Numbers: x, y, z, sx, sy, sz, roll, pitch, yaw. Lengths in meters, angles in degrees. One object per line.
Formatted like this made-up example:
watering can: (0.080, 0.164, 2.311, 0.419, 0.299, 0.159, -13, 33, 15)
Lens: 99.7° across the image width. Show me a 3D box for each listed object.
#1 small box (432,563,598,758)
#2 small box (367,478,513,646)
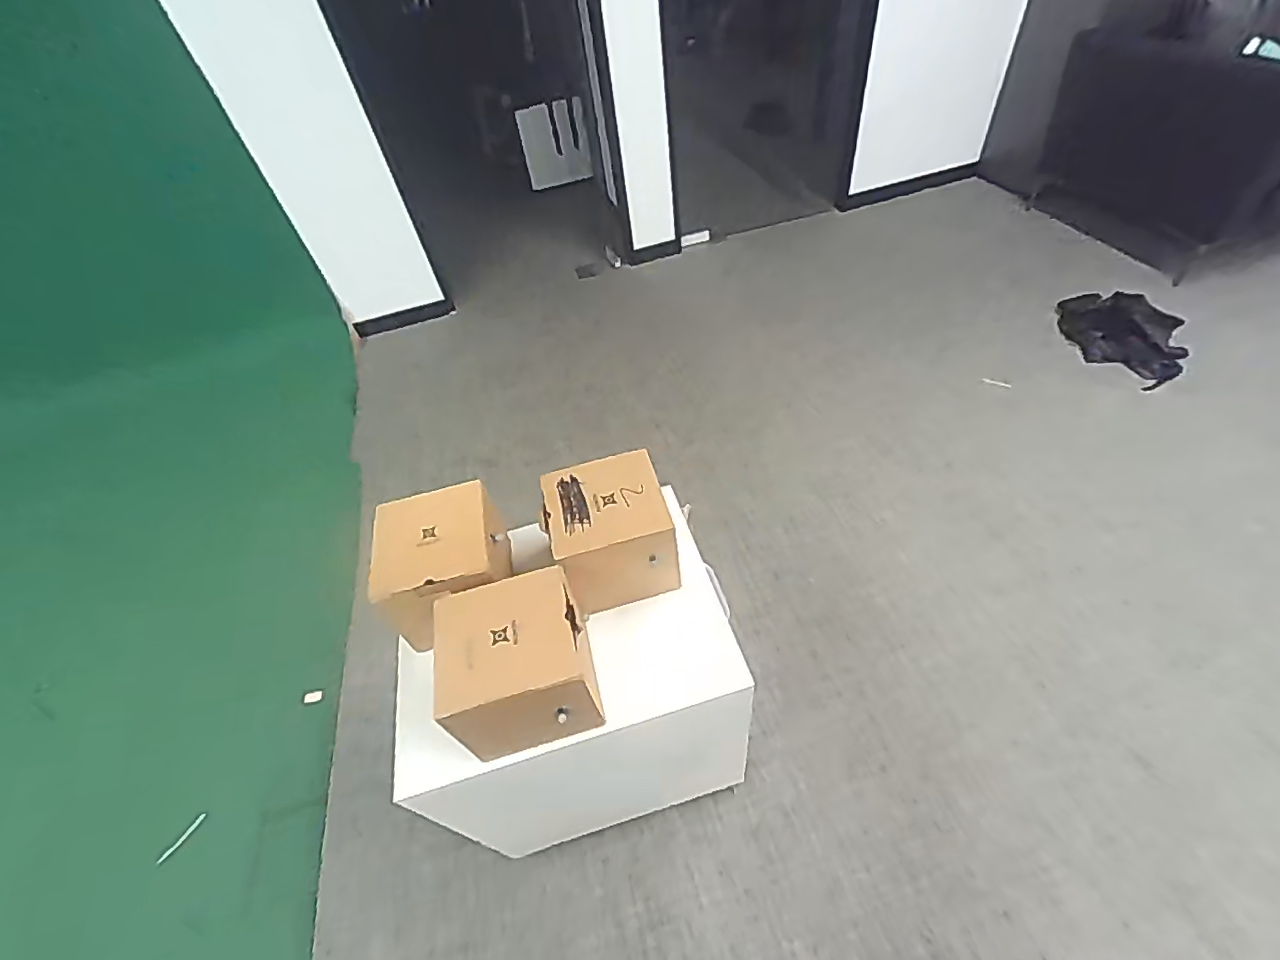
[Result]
small box: (-0.160, 0.243, 0.724, 0.179, 0.176, 0.168, -16, 47, -5)
small box: (-0.300, 0.129, 0.845, 0.168, 0.176, 0.179, -15, 49, -6)
